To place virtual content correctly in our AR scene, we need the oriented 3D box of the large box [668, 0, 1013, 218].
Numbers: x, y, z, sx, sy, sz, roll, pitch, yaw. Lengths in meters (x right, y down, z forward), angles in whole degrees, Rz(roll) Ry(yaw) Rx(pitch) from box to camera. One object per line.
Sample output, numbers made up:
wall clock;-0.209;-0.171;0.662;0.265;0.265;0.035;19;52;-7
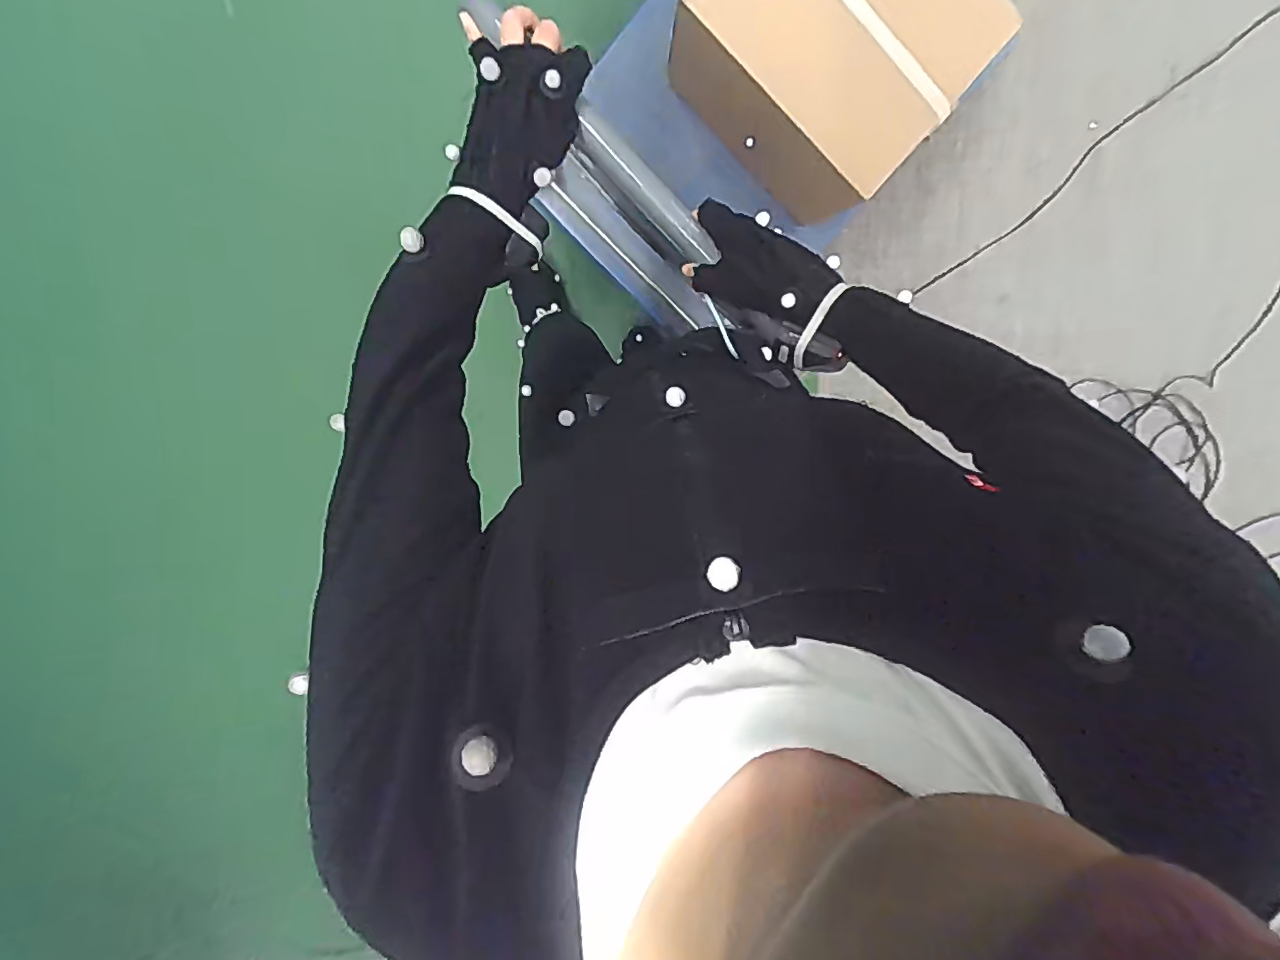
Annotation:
large box;0.299;-0.729;0.924;0.408;0.320;0.320;39;103;-12
